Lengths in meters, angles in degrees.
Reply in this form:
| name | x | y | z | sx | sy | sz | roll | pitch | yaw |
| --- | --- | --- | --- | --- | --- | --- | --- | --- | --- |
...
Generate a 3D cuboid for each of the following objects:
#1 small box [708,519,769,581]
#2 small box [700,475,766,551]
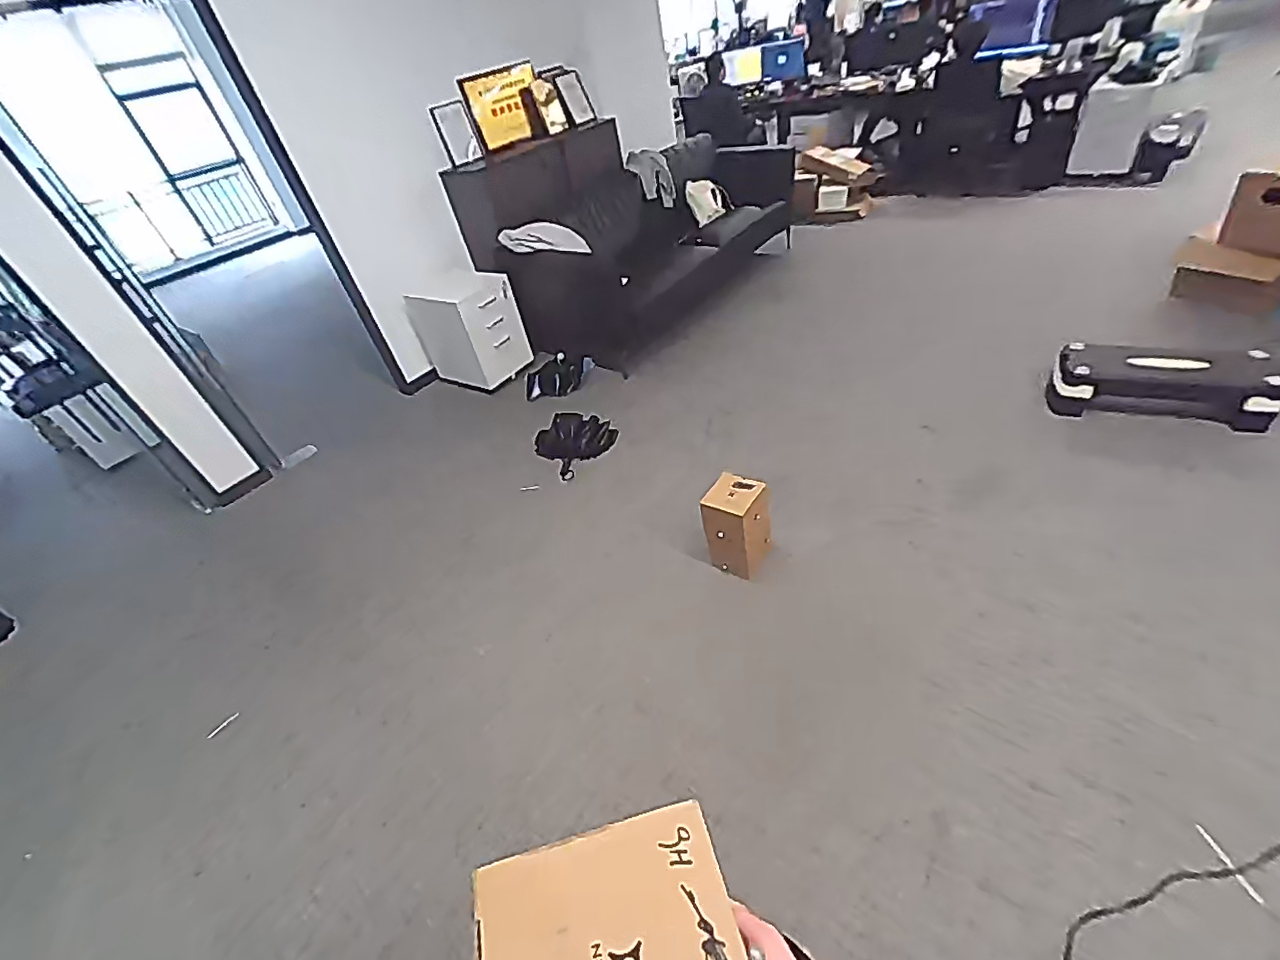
| name | x | y | z | sx | sy | sz | roll | pitch | yaw |
| --- | --- | --- | --- | --- | --- | --- | --- | --- | --- |
| small box | 0.364 | 0.236 | 1.987 | 0.168 | 0.176 | 0.179 | 17 | 49 | 34 |
| small box | 0.327 | 0.114 | 1.882 | 0.168 | 0.176 | 0.179 | 17 | 48 | 34 |
